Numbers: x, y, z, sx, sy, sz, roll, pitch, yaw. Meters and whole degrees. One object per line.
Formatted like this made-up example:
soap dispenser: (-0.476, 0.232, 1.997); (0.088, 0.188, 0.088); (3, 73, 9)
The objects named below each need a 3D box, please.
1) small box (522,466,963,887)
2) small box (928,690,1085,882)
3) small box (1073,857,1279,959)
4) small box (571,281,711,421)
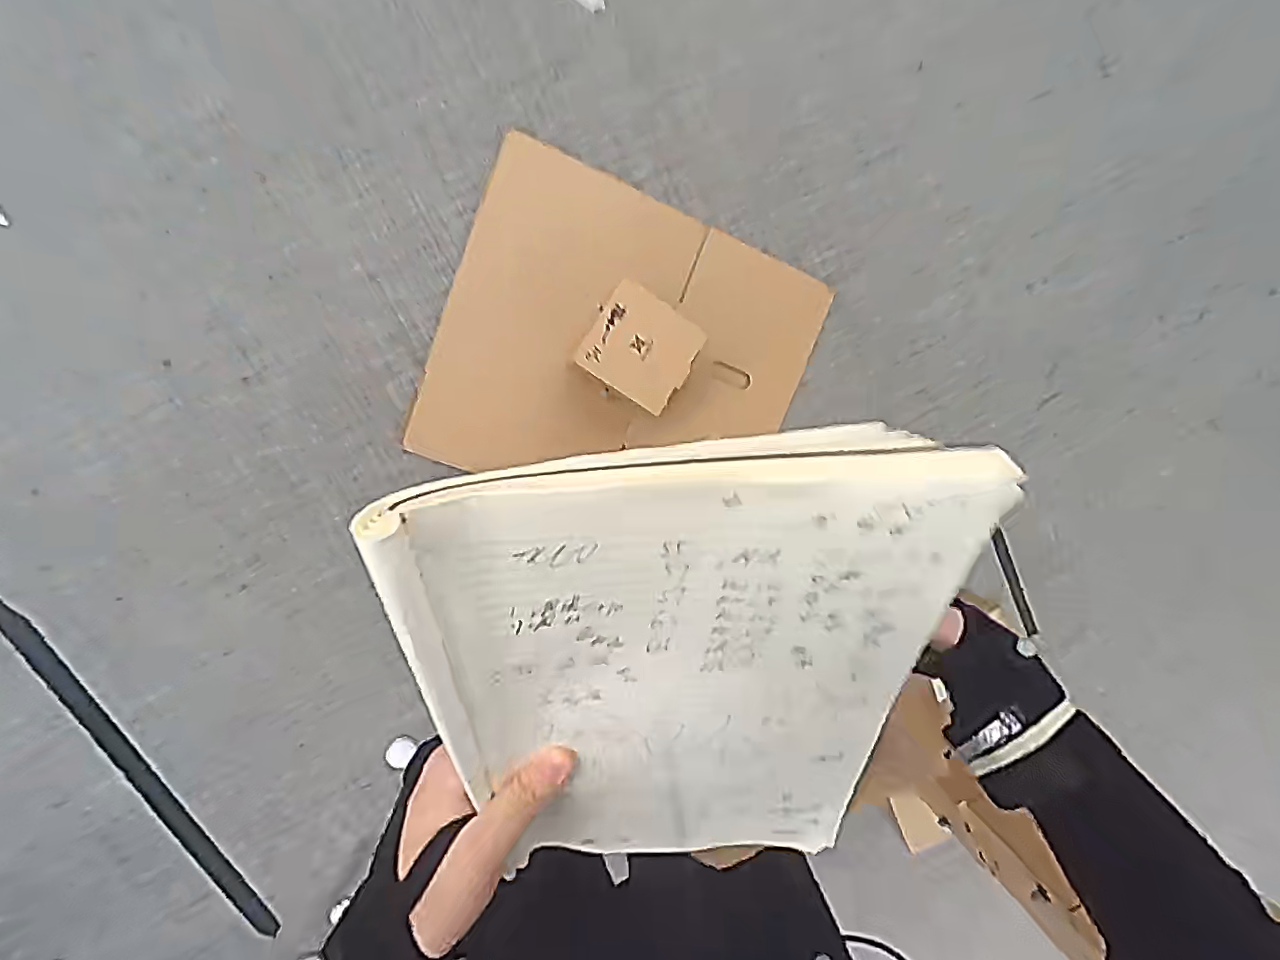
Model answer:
small box: (0.054, 0.114, 0.348); (0.168, 0.176, 0.179); (-38, 115, 21)
small box: (0.557, 0.486, 0.883); (0.179, 0.176, 0.168); (-31, 104, -4)
small box: (0.615, 0.552, 0.565); (0.179, 0.176, 0.168); (-28, 103, -3)
small box: (-0.007, -0.228, 0.972); (0.179, 0.176, 0.168); (32, 93, -16)
